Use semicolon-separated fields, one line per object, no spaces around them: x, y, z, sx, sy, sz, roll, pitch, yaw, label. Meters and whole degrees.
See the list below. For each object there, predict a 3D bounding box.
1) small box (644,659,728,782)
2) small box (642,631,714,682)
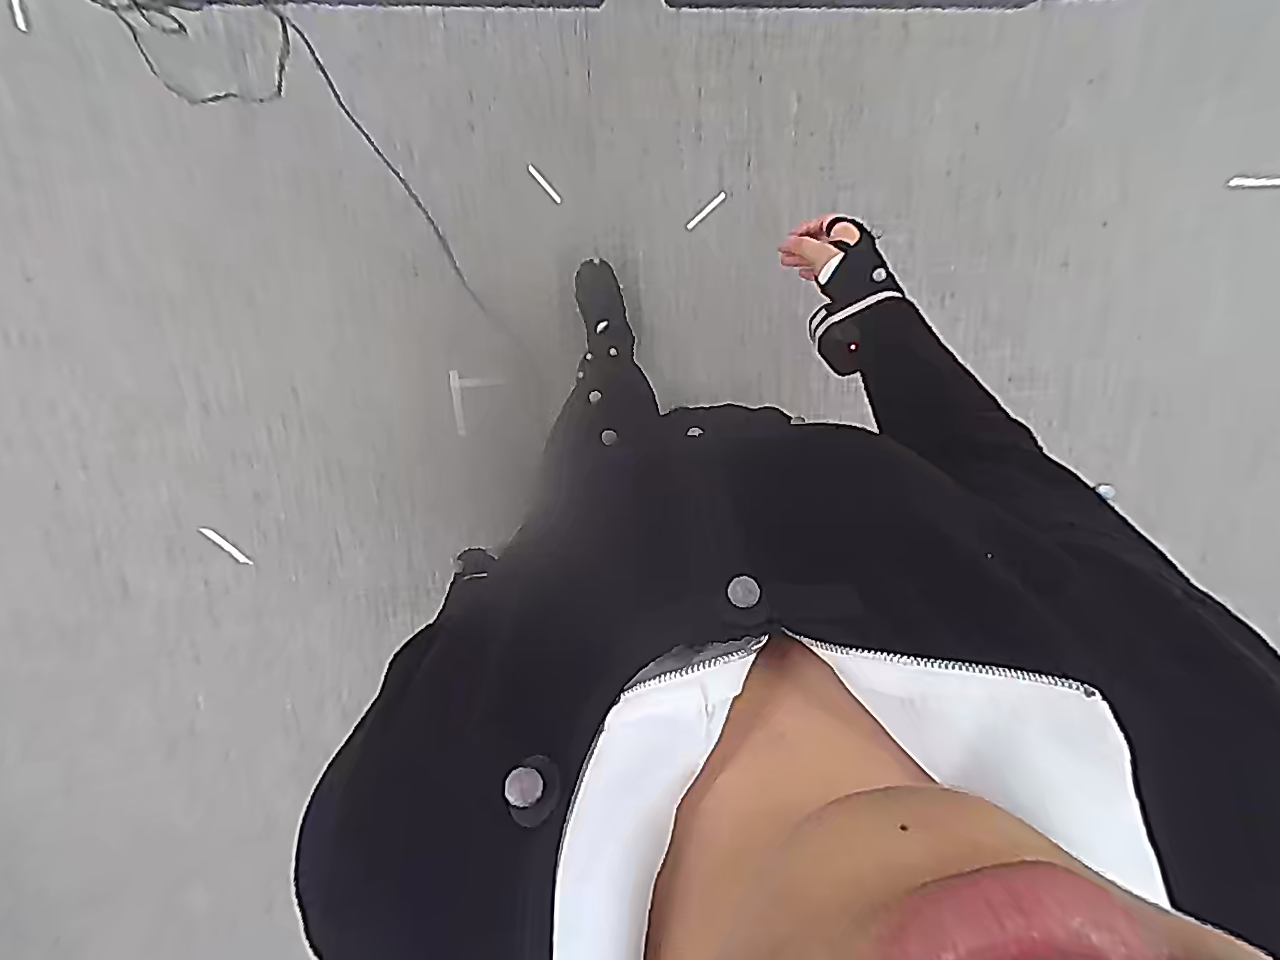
0.095;0.514;1.169;0.168;0.176;0.179;-4;104;0;small box
0.091;0.469;1.326;0.168;0.176;0.179;-3;104;0;small box
